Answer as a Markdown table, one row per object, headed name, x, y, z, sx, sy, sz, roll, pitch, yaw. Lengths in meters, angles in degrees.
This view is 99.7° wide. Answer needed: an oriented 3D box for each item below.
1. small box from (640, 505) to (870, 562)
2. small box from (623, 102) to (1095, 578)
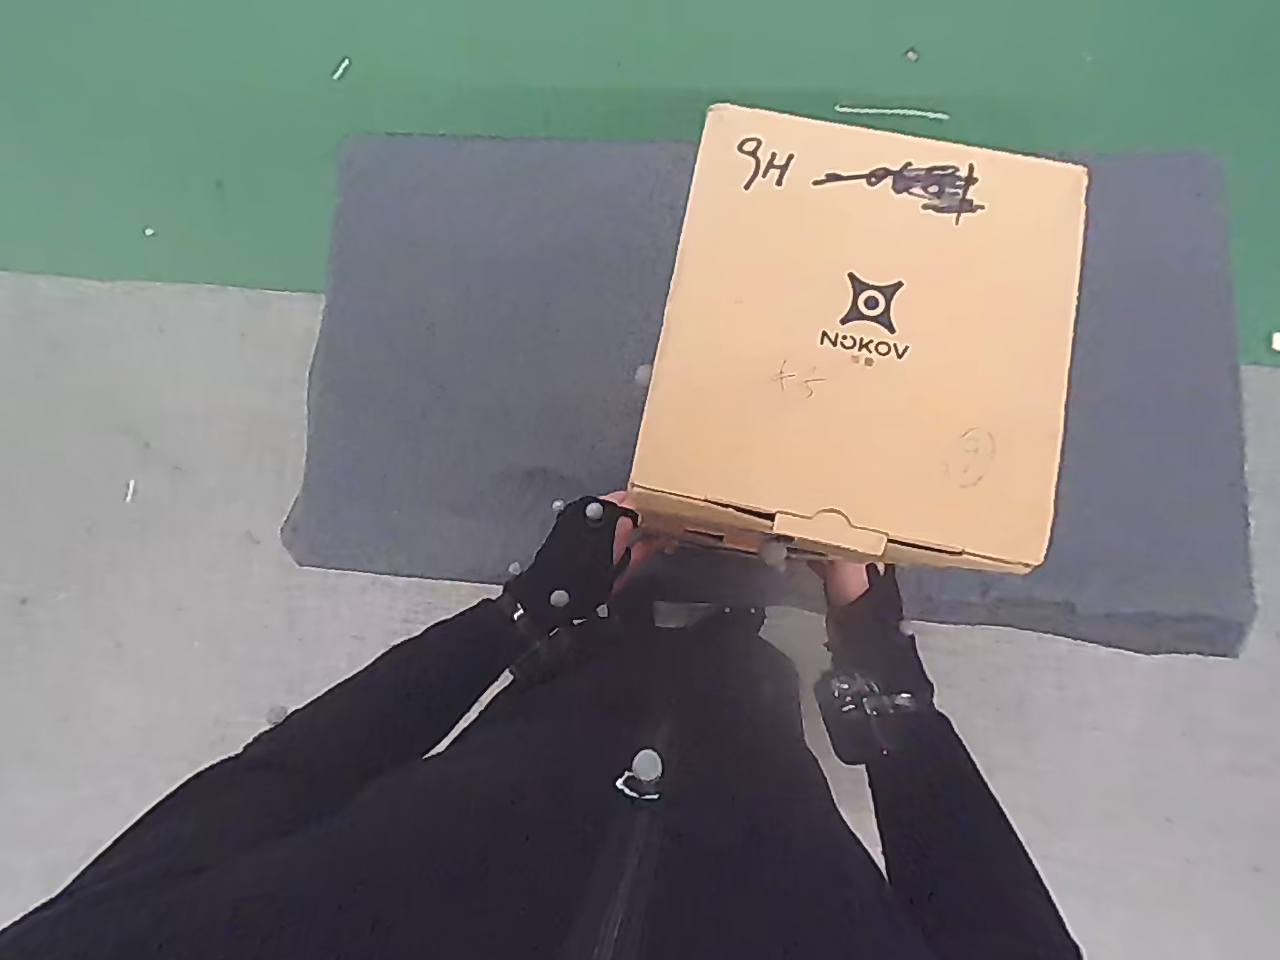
| name | x | y | z | sx | sy | sz | roll | pitch | yaw |
| --- | --- | --- | --- | --- | --- | --- | --- | --- | --- |
| small box | 0.096 | -0.031 | 0.461 | 0.168 | 0.176 | 0.179 | 9 | 83 | 2 |
| small box | 0.092 | -0.054 | 0.299 | 0.168 | 0.176 | 0.179 | 11 | 85 | 3 |
